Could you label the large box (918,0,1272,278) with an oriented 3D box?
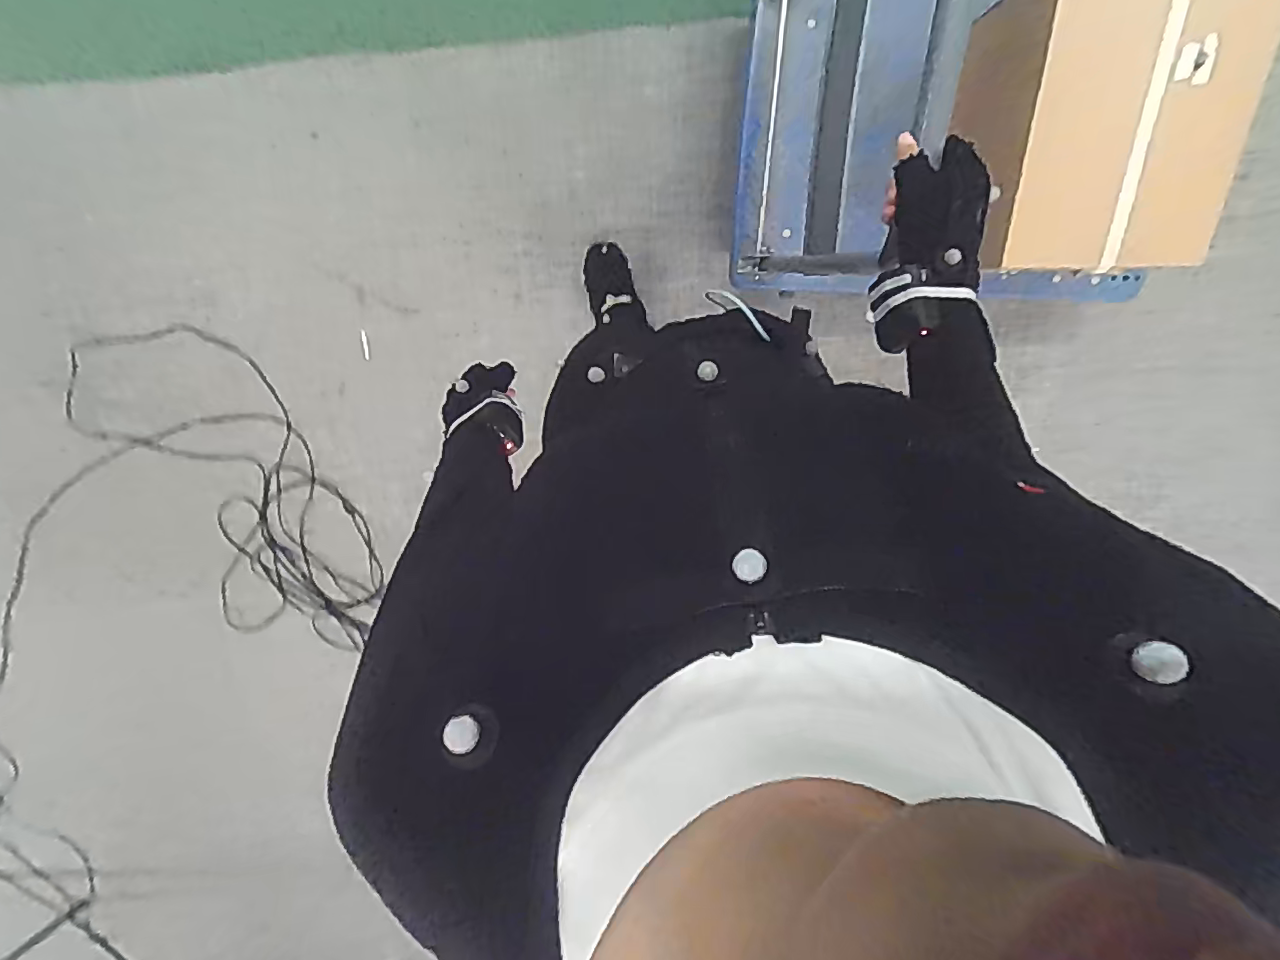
[{"bbox_3d":[0.726,-0.571,0.937,0.320,0.320,0.408,1,109,1],"label":"large box"}]
